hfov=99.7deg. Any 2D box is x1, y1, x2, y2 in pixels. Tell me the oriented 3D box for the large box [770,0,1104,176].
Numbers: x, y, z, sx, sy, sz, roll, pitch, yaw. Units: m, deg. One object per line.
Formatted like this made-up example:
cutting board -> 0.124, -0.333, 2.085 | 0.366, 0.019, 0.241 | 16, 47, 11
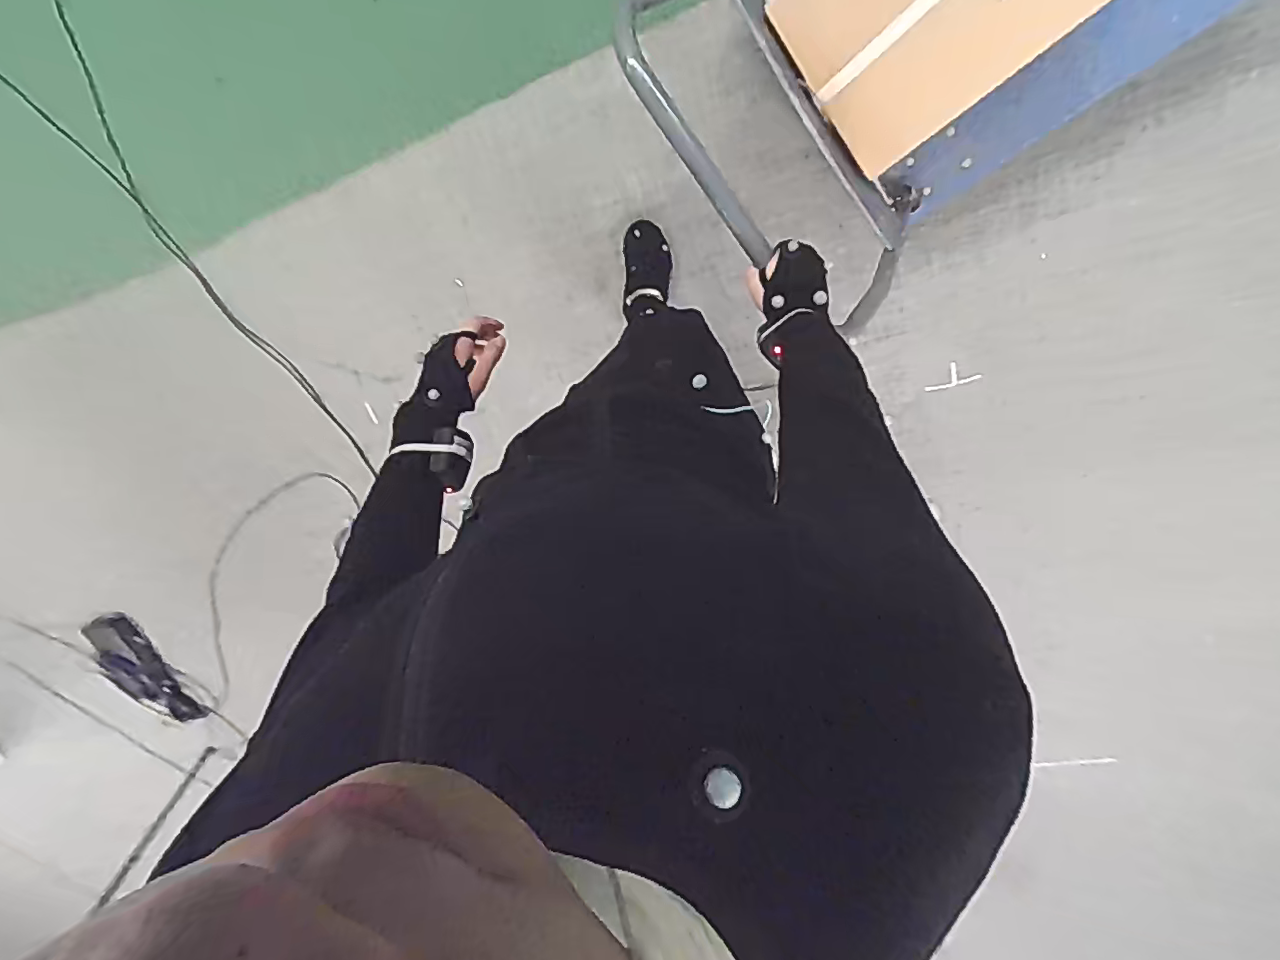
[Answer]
large box -> 0.482, -0.777, 0.863 | 0.408, 0.320, 0.320 | -29, 109, 39
